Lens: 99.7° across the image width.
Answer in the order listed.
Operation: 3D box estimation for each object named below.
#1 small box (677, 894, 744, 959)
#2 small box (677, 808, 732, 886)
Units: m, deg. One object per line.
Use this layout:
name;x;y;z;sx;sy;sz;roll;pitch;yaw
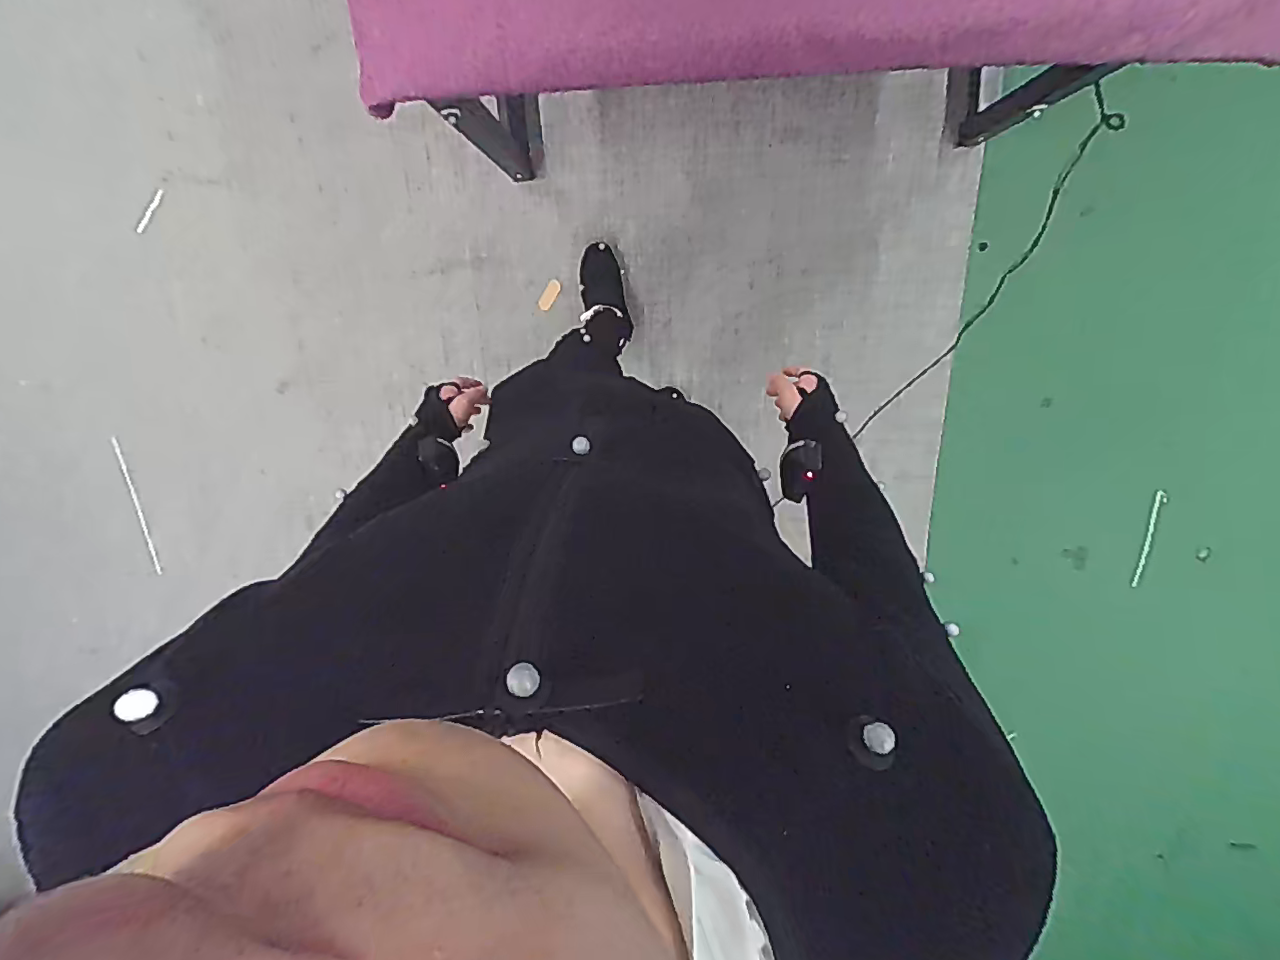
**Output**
small box;0.208;1.402;1.638;0.179;0.176;0.168;6;107;2
small box;0.229;1.322;1.955;0.179;0.176;0.168;4;107;3
